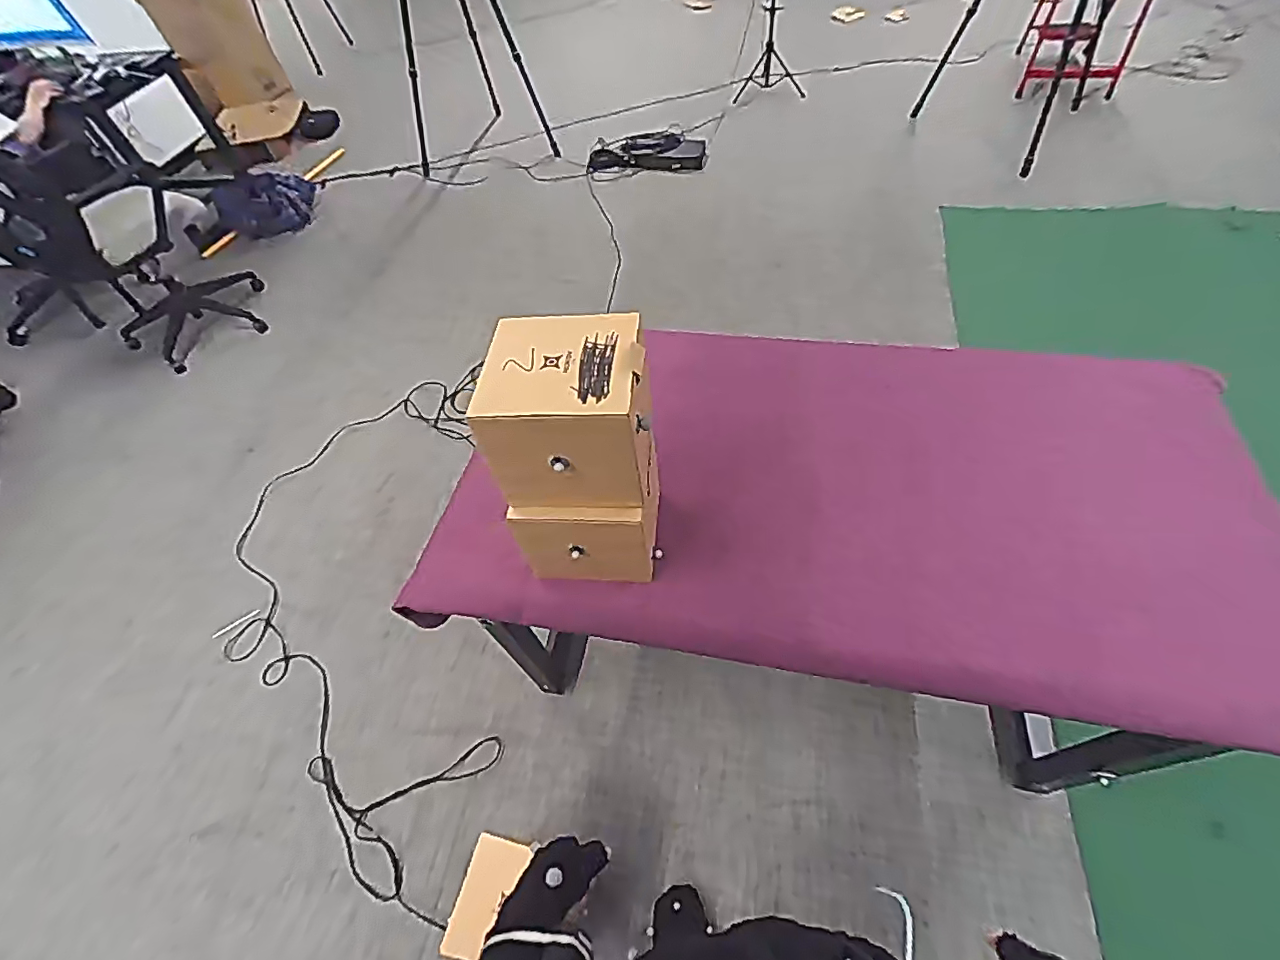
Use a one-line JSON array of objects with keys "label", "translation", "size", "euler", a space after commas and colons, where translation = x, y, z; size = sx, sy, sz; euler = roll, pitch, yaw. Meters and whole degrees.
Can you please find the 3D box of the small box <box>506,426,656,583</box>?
[{"label": "small box", "translation": [-0.071, 0.040, 0.784], "size": [0.179, 0.176, 0.168], "euler": [1, 53, 7]}]
